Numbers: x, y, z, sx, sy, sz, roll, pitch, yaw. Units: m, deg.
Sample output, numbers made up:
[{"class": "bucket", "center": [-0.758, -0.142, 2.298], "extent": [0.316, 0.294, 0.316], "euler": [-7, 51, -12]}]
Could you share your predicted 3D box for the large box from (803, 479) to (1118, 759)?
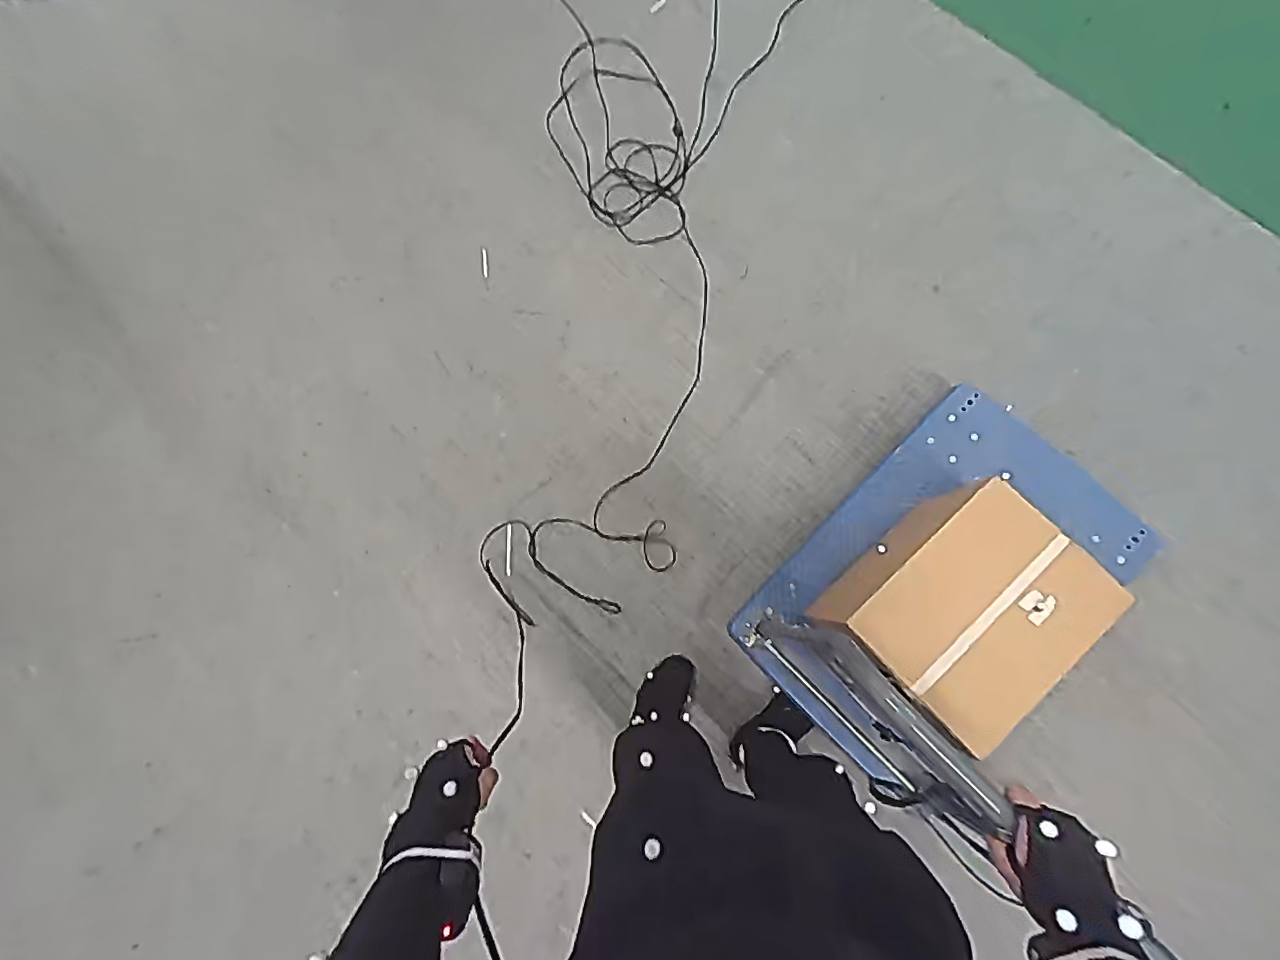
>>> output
[{"class": "large box", "center": [0.613, 0.268, 1.110], "extent": [0.408, 0.320, 0.320], "euler": [-42, 81, -6]}]
